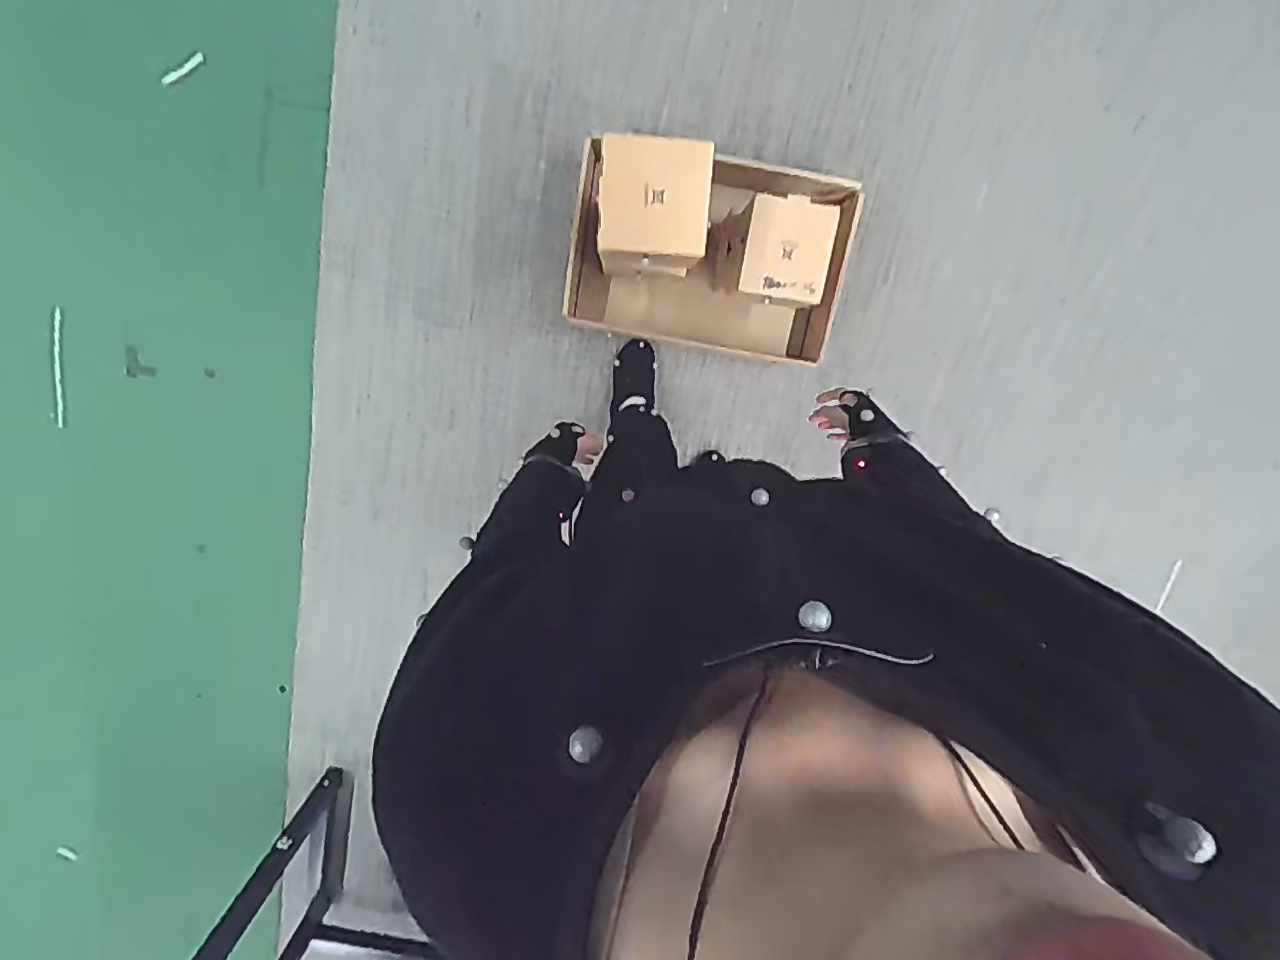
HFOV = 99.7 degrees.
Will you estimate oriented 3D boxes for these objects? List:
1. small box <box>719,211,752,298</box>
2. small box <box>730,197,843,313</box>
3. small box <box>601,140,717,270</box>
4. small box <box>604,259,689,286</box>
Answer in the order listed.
[{"bbox_3d":[0.283,-0.511,1.256,0.179,0.176,0.168,4,104,-1],"label":"small box"},{"bbox_3d":[0.287,-0.448,1.103,0.168,0.176,0.179,9,103,-2],"label":"small box"},{"bbox_3d":[0.027,-0.460,0.931,0.179,0.176,0.168,3,105,-1],"label":"small box"},{"bbox_3d":[0.026,-0.498,1.089,0.168,0.176,0.179,10,104,-4],"label":"small box"}]
